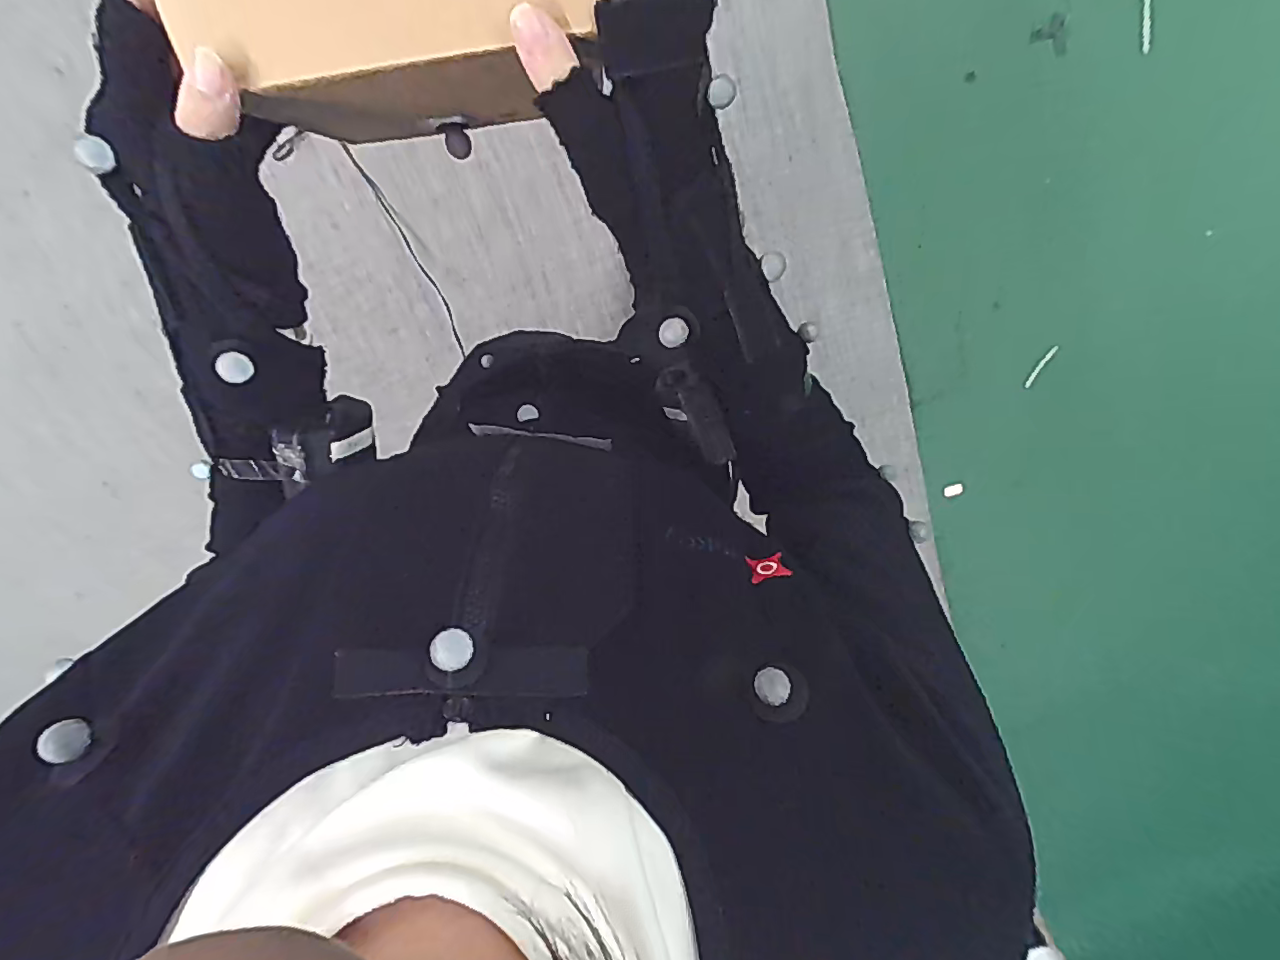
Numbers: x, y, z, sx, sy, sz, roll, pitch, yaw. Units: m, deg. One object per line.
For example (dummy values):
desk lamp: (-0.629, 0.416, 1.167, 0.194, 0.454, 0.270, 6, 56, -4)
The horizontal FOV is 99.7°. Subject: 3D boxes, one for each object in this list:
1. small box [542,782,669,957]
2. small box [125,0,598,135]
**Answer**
small box: (-0.057, 0.687, 0.967, 0.168, 0.176, 0.179, -21, 108, 4)
small box: (-0.114, -0.273, 0.233, 0.168, 0.176, 0.179, -9, 116, 1)
